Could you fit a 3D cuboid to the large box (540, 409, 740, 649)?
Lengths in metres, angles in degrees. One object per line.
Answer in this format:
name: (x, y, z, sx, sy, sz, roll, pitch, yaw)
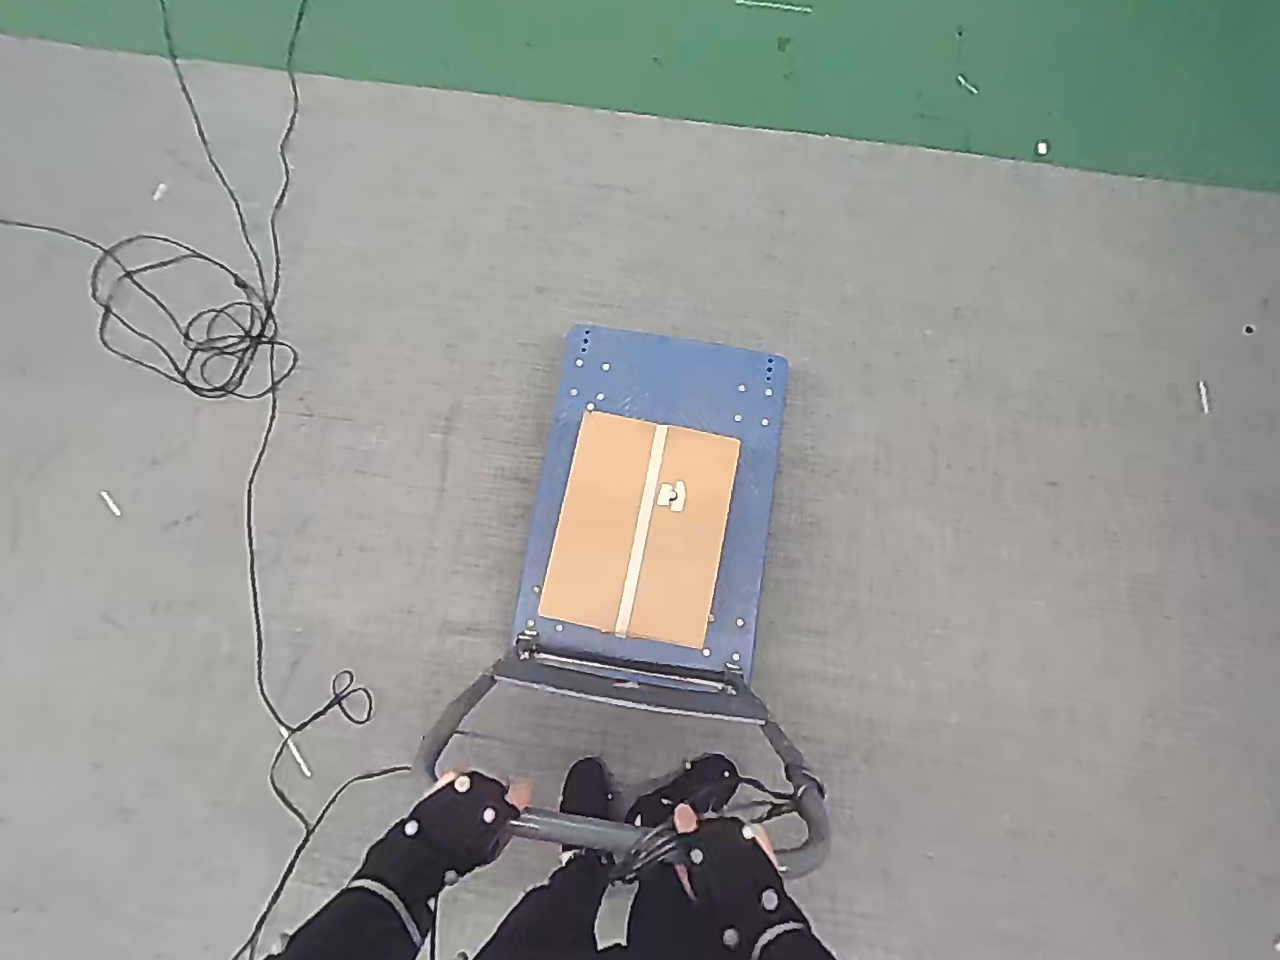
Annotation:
large box: (0.004, 0.112, 1.154, 0.320, 0.320, 0.408, 13, 80, 1)
